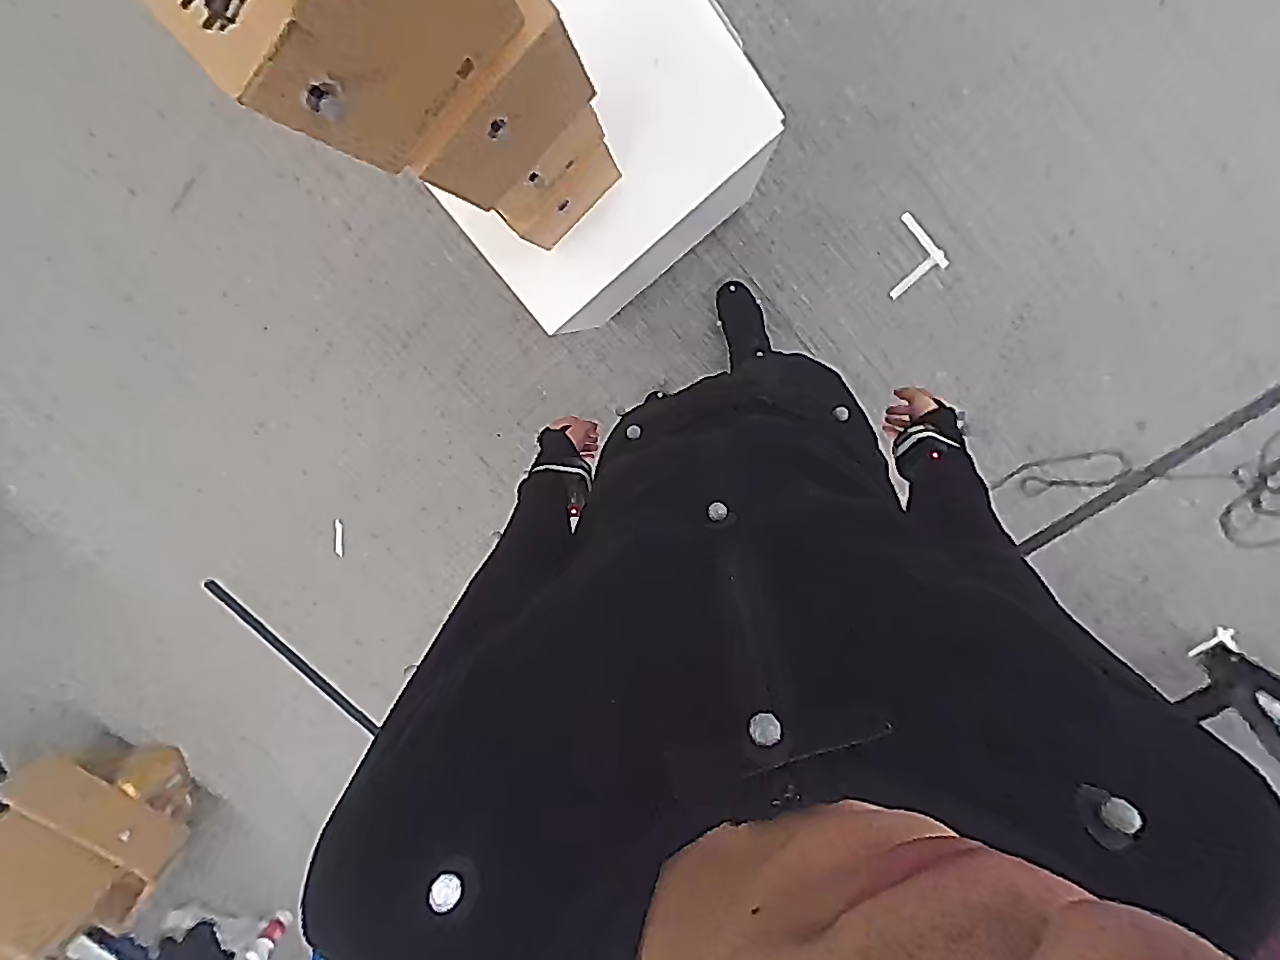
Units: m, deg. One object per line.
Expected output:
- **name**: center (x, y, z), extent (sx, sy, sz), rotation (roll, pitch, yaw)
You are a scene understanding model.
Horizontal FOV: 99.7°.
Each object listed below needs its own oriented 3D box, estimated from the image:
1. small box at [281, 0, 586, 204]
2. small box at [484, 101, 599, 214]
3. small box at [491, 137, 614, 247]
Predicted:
- **small box**: center (-0.172, -0.396, 0.510), extent (0.179, 0.176, 0.168), rotation (-39, 100, 14)
- **small box**: center (-0.171, -0.456, 0.664), extent (0.168, 0.176, 0.179), rotation (-39, 99, 14)
- **small box**: center (-0.157, -0.485, 0.824), extent (0.179, 0.176, 0.168), rotation (-40, 100, 14)
